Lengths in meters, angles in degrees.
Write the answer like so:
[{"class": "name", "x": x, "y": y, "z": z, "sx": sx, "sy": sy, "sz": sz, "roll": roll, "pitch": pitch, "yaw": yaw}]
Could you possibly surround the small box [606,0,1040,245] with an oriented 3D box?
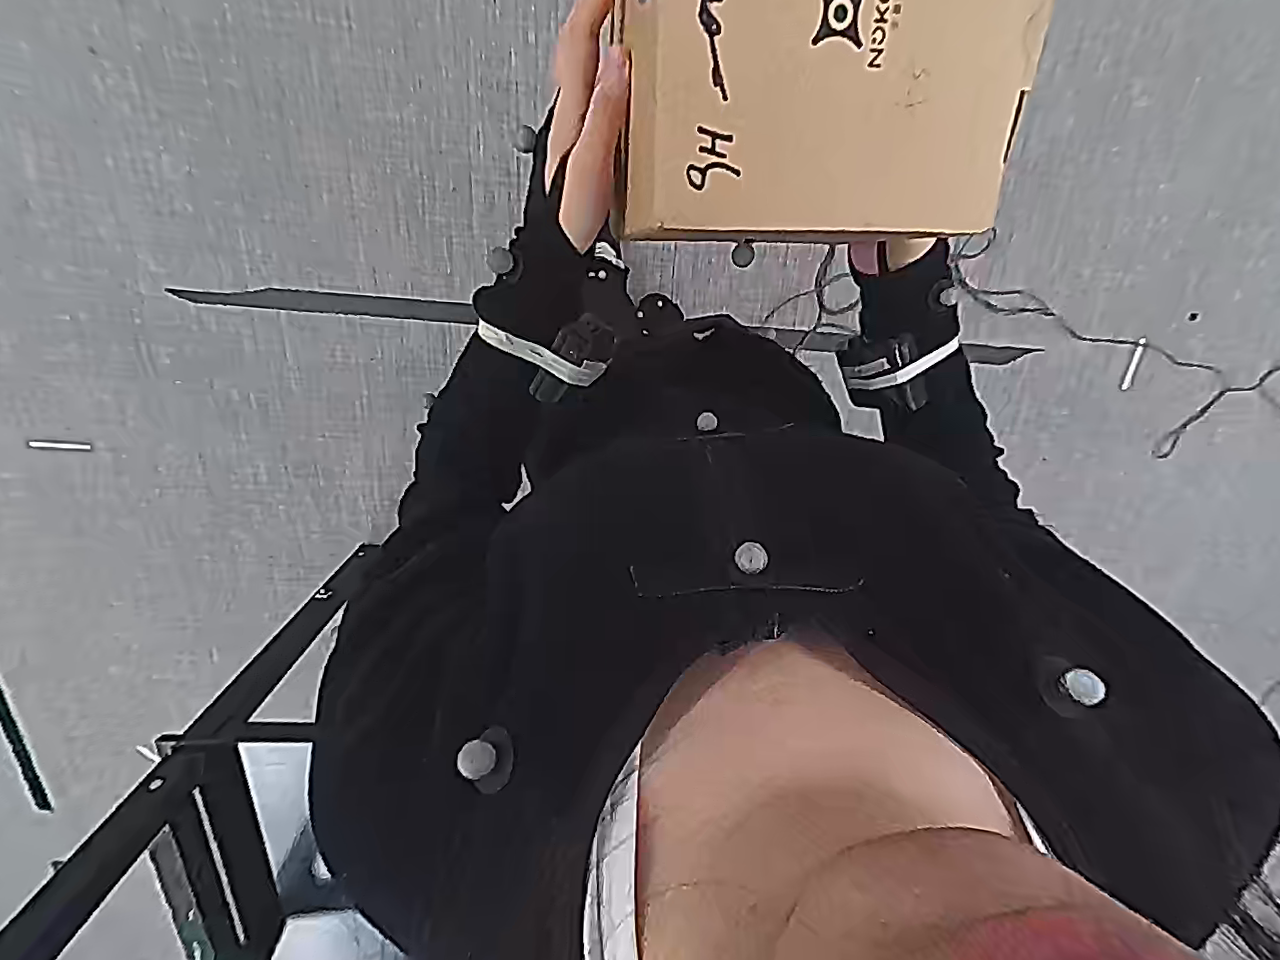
[{"class": "small box", "x": 0.079, "y": -0.226, "z": 0.303, "sx": 0.179, "sy": 0.176, "sz": 0.168, "roll": -3, "pitch": 112, "yaw": -10}]
